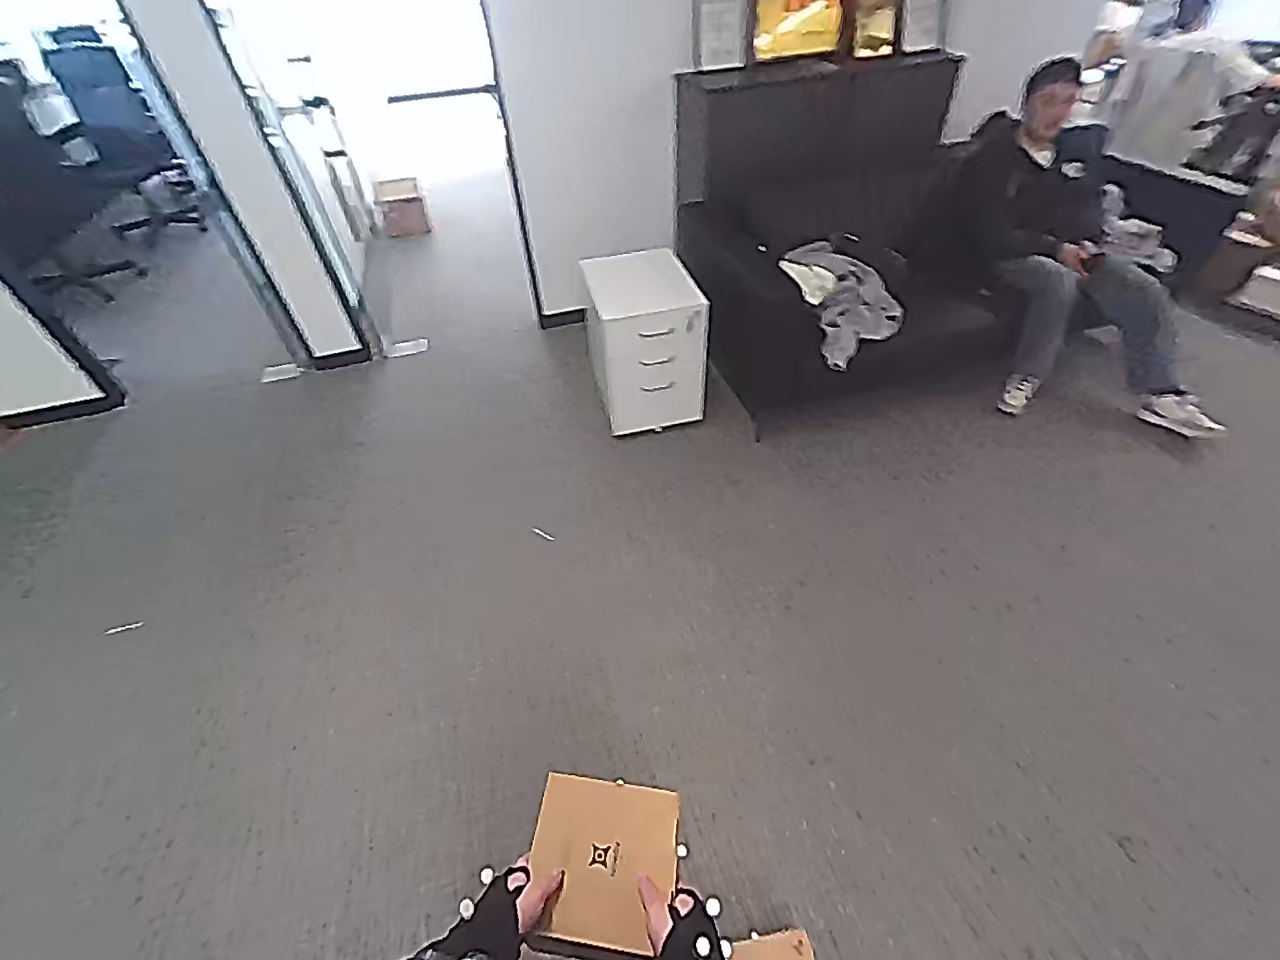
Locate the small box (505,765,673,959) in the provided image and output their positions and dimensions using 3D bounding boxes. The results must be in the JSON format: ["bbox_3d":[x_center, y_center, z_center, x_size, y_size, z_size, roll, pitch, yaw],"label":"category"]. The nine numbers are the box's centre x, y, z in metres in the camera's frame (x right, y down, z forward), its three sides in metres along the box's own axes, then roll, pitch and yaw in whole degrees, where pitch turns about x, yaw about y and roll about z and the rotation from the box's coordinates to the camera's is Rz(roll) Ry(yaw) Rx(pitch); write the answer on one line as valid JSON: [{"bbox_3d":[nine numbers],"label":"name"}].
[{"bbox_3d":[-0.055,0.501,0.707,0.179,0.176,0.168,5,43,6],"label":"small box"}]

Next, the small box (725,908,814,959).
[{"bbox_3d":[0.264,1.015,1.075,0.168,0.176,0.179,-29,49,-26],"label":"small box"}]
